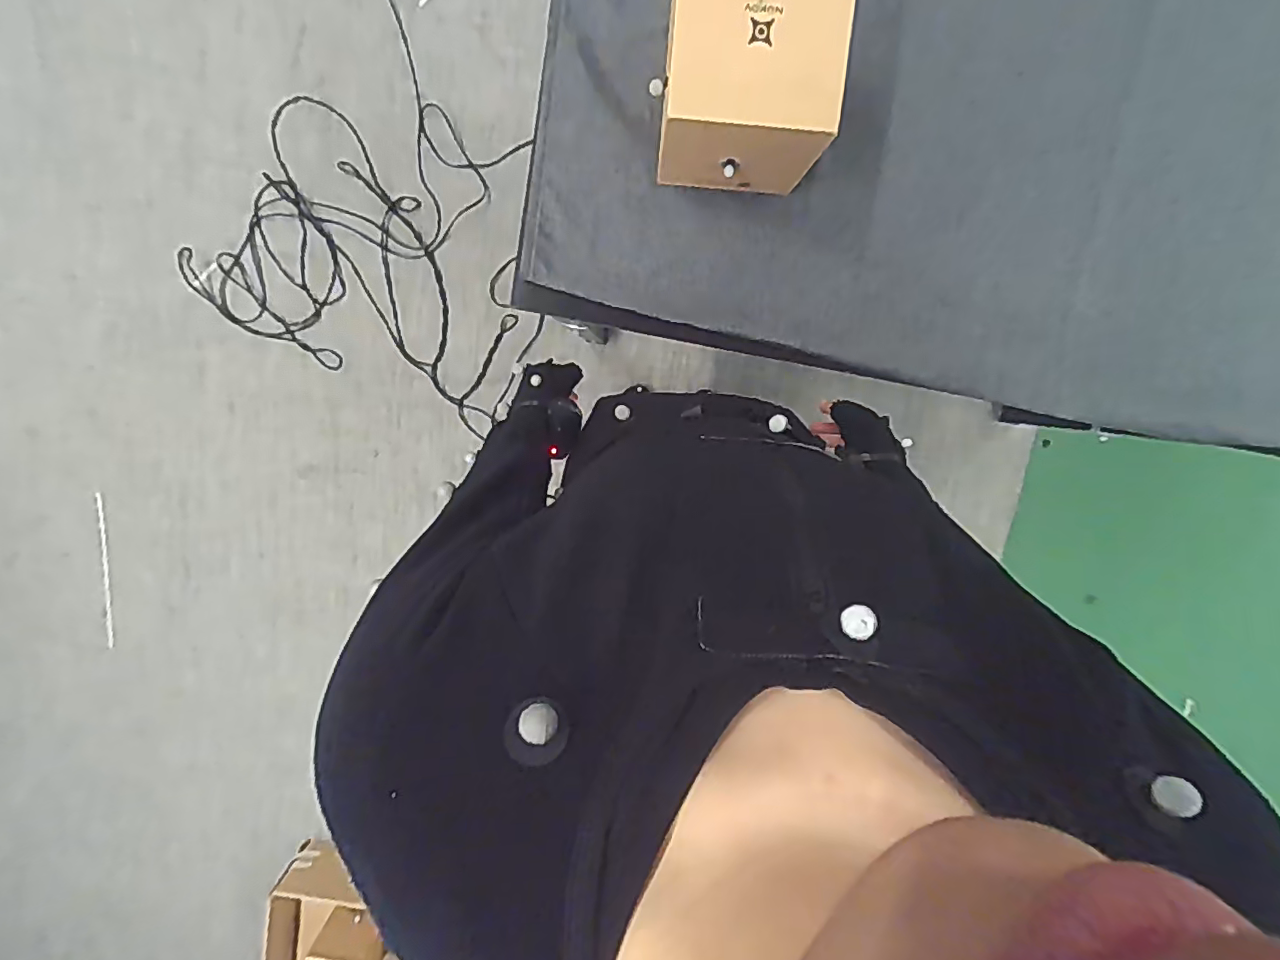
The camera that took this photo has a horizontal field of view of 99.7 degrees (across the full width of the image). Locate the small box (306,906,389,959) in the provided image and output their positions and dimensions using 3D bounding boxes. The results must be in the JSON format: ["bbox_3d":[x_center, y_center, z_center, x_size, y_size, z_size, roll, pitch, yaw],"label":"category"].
[{"bbox_3d":[-0.864,1.420,1.598,0.168,0.176,0.179,9,100,-1],"label":"small box"}]

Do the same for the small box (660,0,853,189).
[{"bbox_3d":[0.111,-0.432,0.573,0.168,0.176,0.179,4,99,-2],"label":"small box"}]
